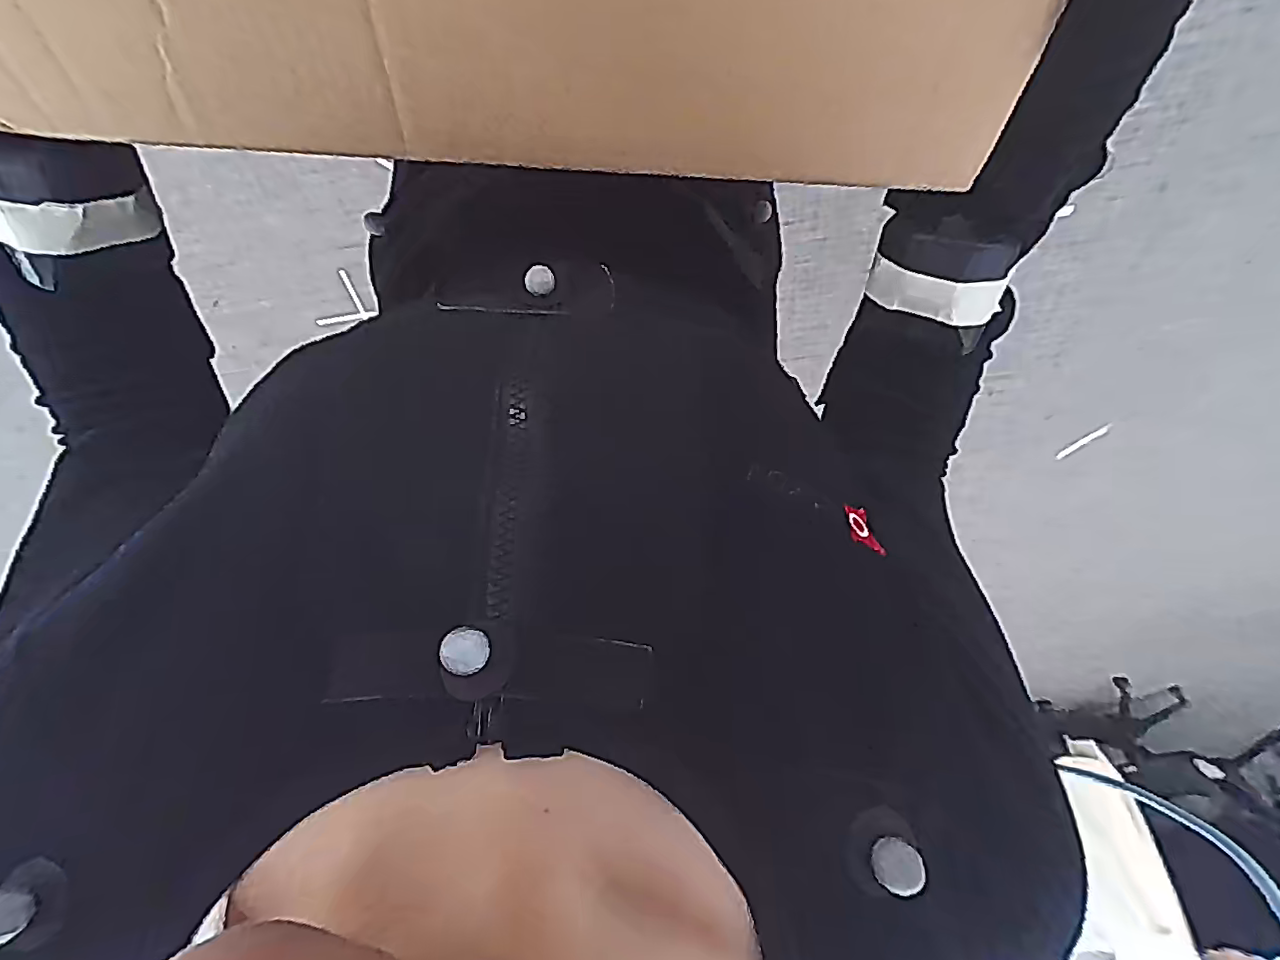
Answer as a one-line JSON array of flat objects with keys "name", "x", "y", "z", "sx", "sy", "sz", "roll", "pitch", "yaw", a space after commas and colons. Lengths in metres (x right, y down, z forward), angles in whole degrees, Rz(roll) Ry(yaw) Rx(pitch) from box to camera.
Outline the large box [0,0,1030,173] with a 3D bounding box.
[{"name": "large box", "x": -0.050, "y": -0.353, "z": 0.204, "sx": 0.408, "sy": 0.320, "sz": 0.320, "roll": 2, "pitch": 142, "yaw": -3}]
